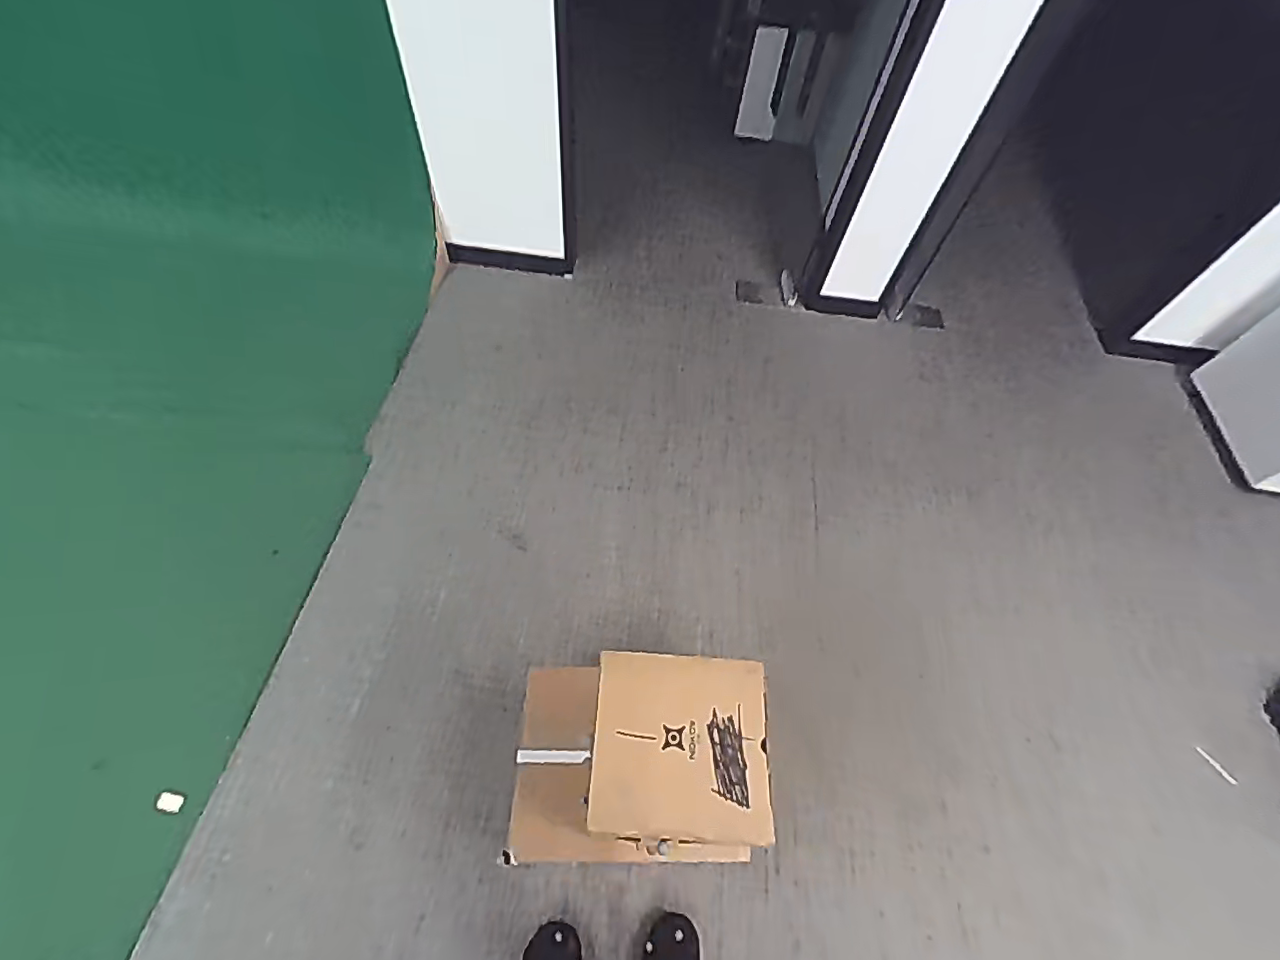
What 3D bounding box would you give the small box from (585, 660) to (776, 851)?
[{"bbox_3d":[0.033,0.305,0.597,0.179,0.176,0.168,3,58,-4],"label":"small box"}]
